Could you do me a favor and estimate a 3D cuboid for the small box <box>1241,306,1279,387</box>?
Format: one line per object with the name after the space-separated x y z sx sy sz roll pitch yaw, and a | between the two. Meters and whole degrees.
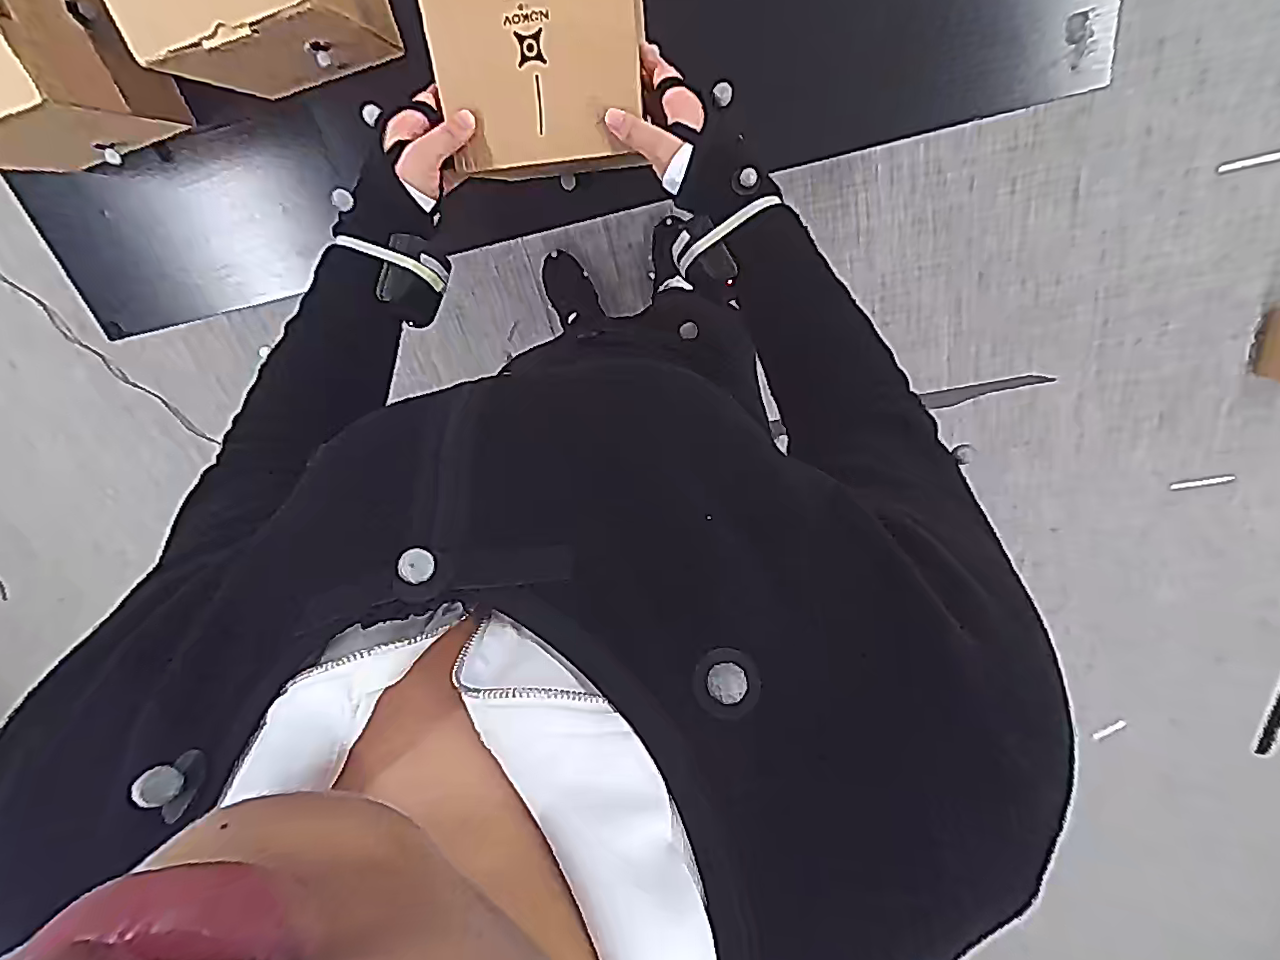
1.566 -0.311 1.246 0.168 0.176 0.179 -9 117 9 | small box

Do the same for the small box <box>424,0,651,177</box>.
-0.079 -0.383 0.488 0.168 0.176 0.179 -3 118 5 | small box

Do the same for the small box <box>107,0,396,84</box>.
-0.345 -0.469 0.463 0.168 0.176 0.179 -11 115 8 | small box

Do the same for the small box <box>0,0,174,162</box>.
-0.598 -0.414 0.504 0.179 0.176 0.168 -13 116 8 | small box
